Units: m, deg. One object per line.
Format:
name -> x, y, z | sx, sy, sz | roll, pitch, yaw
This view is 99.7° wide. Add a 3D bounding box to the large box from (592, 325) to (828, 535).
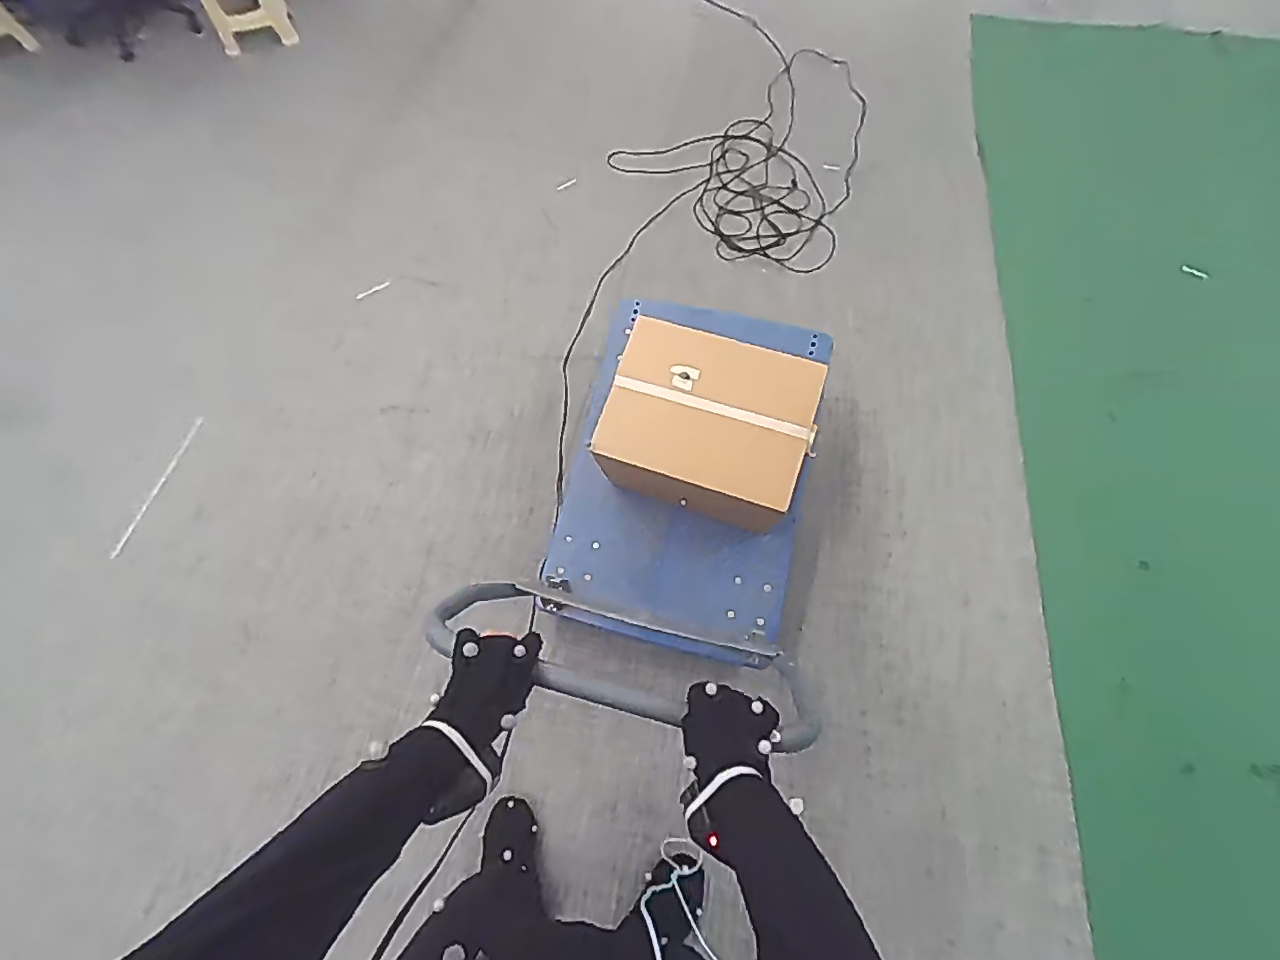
large box -> 0.157, -0.094, 1.213 | 0.408, 0.320, 0.320 | 18, 79, 10
